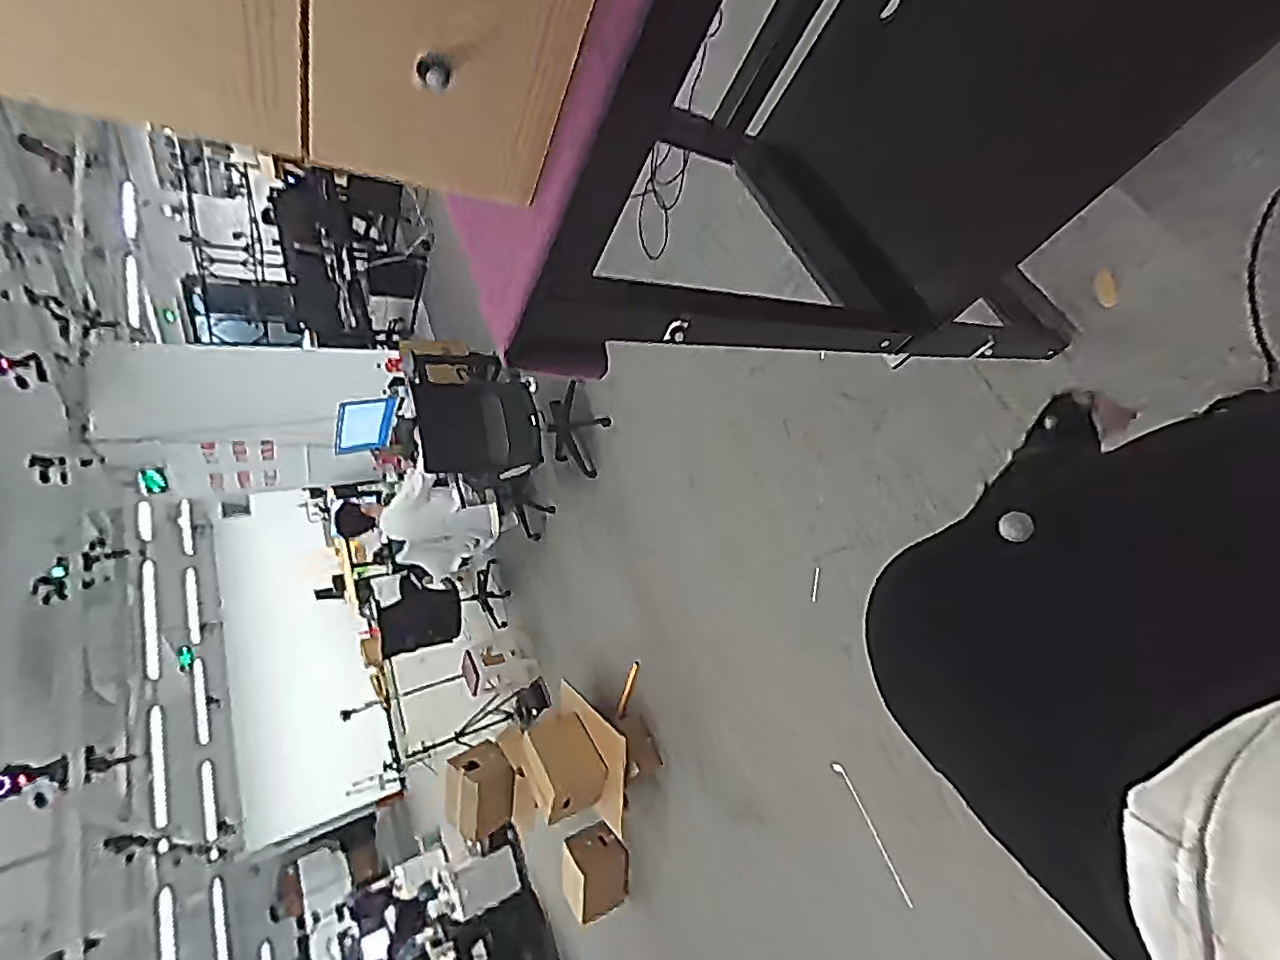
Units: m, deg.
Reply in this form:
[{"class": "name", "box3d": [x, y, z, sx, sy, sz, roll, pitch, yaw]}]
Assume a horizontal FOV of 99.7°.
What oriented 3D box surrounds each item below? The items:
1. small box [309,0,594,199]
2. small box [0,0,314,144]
[{"class": "small box", "box3d": [-0.151, -0.342, 0.394, 0.179, 0.176, 0.168, -53, 54, 46]}, {"class": "small box", "box3d": [-0.284, -0.328, 0.299, 0.179, 0.176, 0.168, -50, 56, 46]}]
